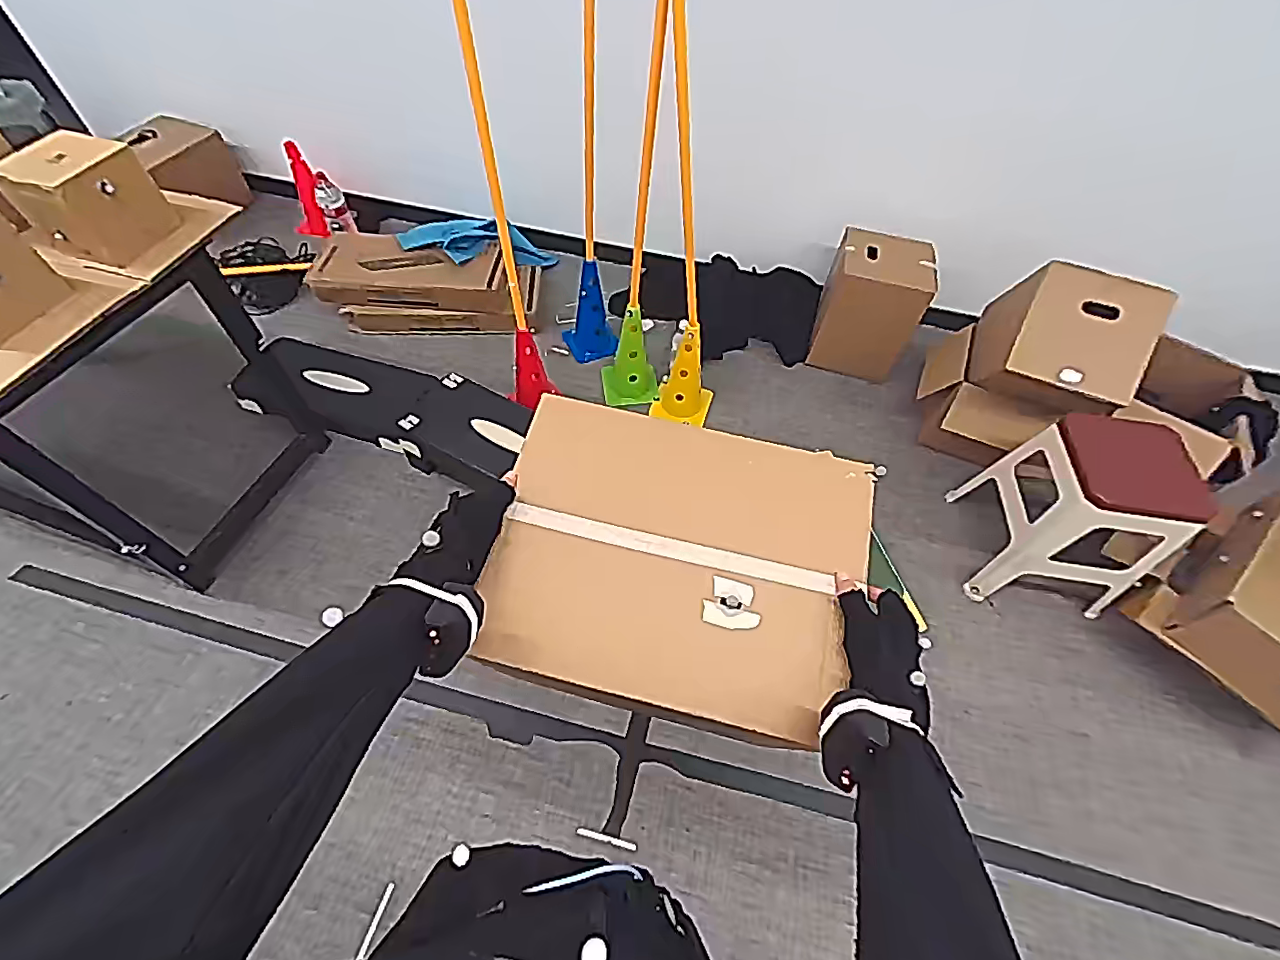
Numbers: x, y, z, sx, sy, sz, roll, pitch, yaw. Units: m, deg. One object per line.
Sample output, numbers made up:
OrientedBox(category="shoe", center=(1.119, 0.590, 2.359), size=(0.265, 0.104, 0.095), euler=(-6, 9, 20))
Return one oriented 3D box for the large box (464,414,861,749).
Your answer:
OrientedBox(category="large box", center=(0.035, 0.153, 0.740), size=(0.408, 0.320, 0.320), euler=(13, 66, 4))
